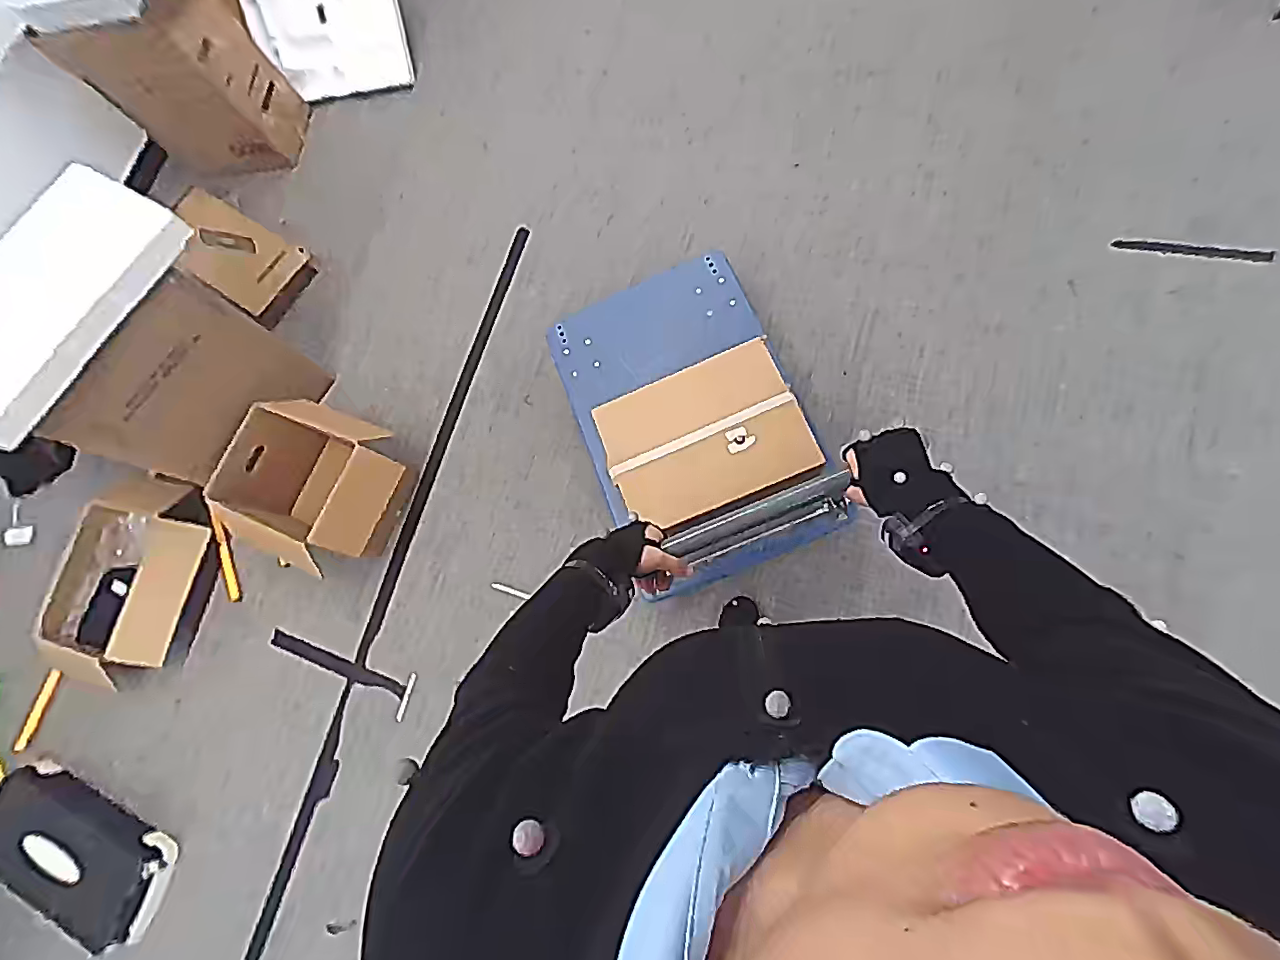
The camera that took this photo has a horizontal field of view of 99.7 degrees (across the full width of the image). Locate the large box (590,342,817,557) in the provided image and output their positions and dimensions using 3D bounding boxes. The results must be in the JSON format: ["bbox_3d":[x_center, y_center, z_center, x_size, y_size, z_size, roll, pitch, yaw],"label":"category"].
[{"bbox_3d":[0.147,-0.048,1.274,0.408,0.320,0.320,-23,73,4],"label":"large box"}]
